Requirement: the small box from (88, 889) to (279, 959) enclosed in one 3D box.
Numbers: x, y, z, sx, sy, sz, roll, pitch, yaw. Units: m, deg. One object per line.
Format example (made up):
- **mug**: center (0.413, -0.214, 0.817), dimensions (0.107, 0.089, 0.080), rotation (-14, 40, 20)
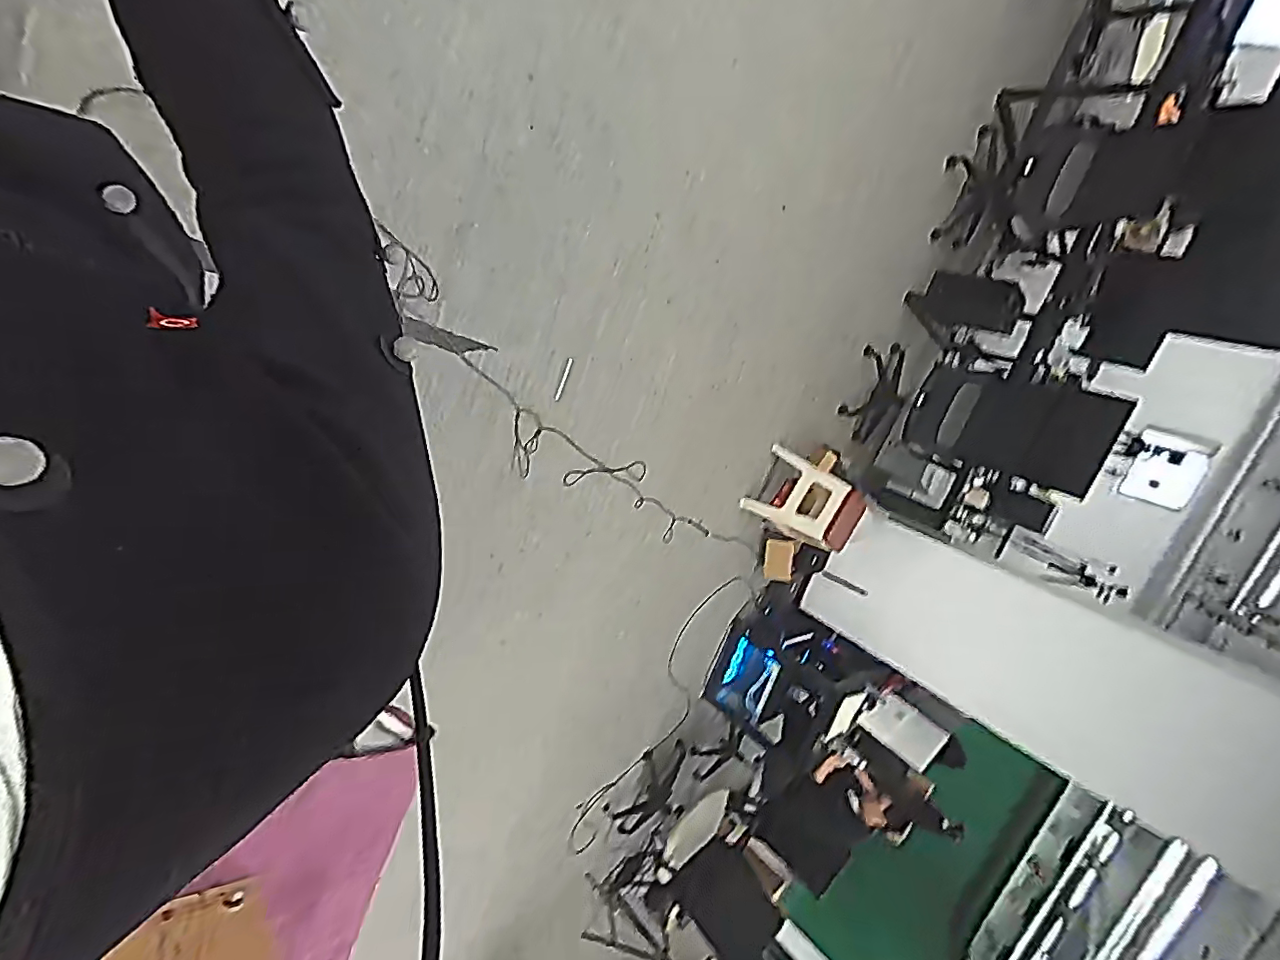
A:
- **small box**: center (-0.588, 0.663, 0.677), dimensions (0.168, 0.176, 0.179), rotation (19, 98, -50)
